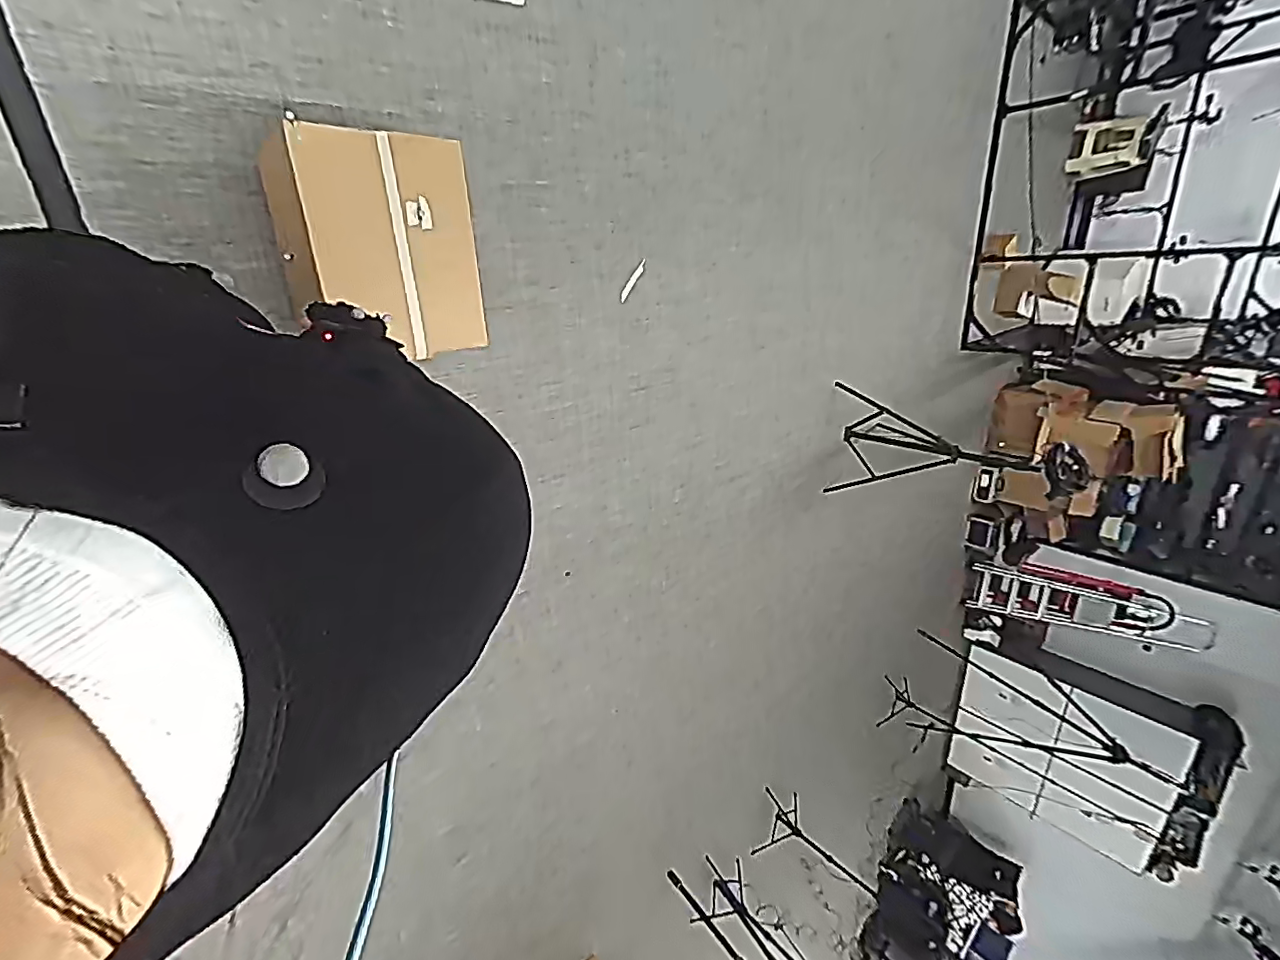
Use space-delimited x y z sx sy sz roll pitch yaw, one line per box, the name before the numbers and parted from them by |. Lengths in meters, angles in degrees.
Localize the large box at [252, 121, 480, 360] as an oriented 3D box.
large box | -0.585 -0.491 1.173 0.320 0.320 0.408 -20 116 -39
